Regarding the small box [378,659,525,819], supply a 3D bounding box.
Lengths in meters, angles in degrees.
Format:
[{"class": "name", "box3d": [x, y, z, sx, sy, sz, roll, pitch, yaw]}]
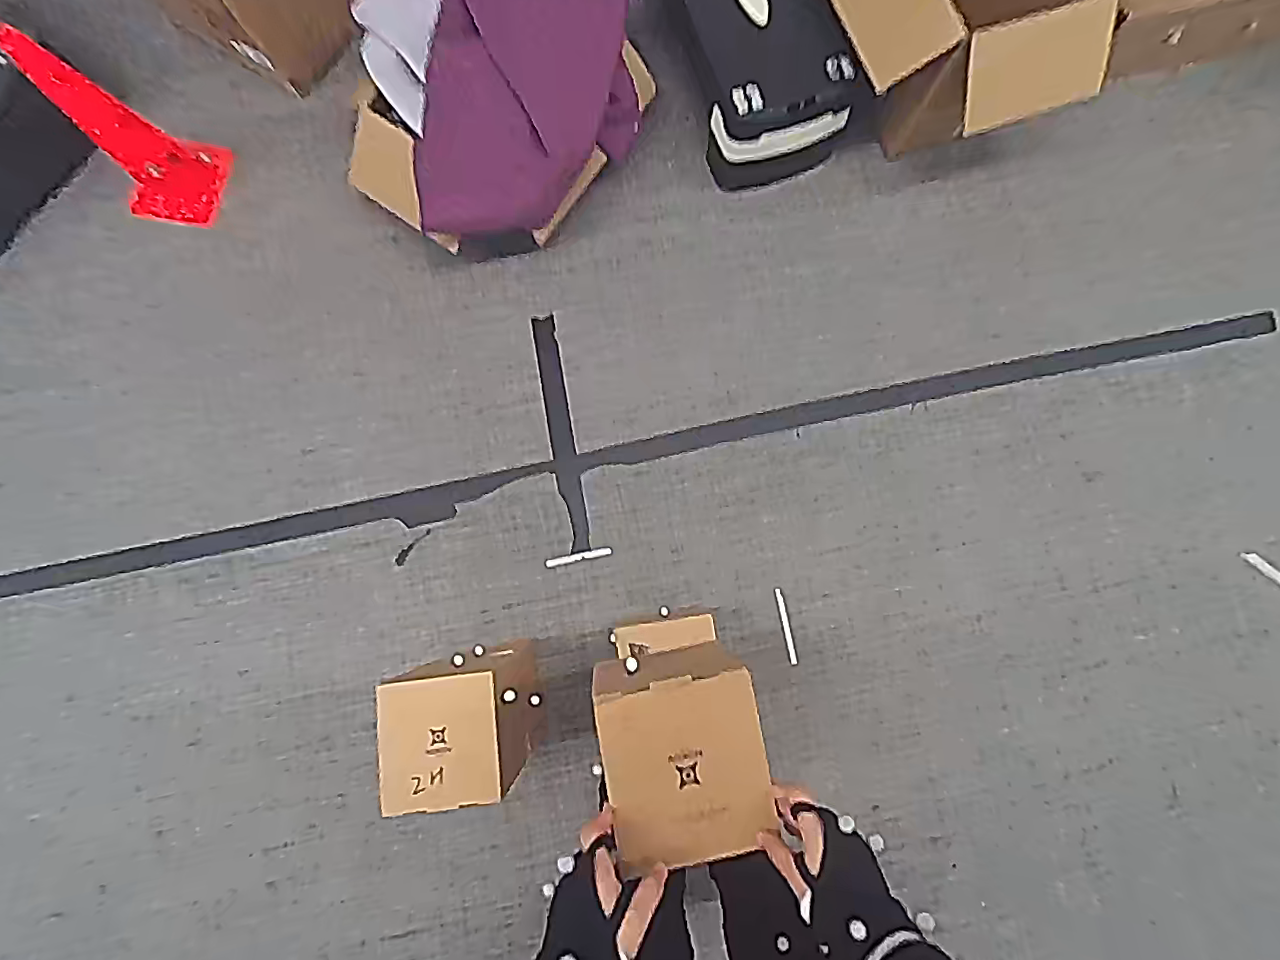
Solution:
[{"class": "small box", "box3d": [-0.278, 0.377, 0.822, 0.168, 0.176, 0.179, -7, 81, -1]}]

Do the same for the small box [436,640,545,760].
[{"class": "small box", "box3d": [-0.279, 0.406, 0.986, 0.168, 0.176, 0.179, -12, 82, -2]}]

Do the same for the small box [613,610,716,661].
[{"class": "small box", "box3d": [0.049, 0.339, 0.999, 0.179, 0.176, 0.168, -8, 81, -3]}]

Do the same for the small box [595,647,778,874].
[{"class": "small box", "box3d": [0.041, 0.303, 0.630, 0.168, 0.176, 0.179, -10, 85, -4]}]
